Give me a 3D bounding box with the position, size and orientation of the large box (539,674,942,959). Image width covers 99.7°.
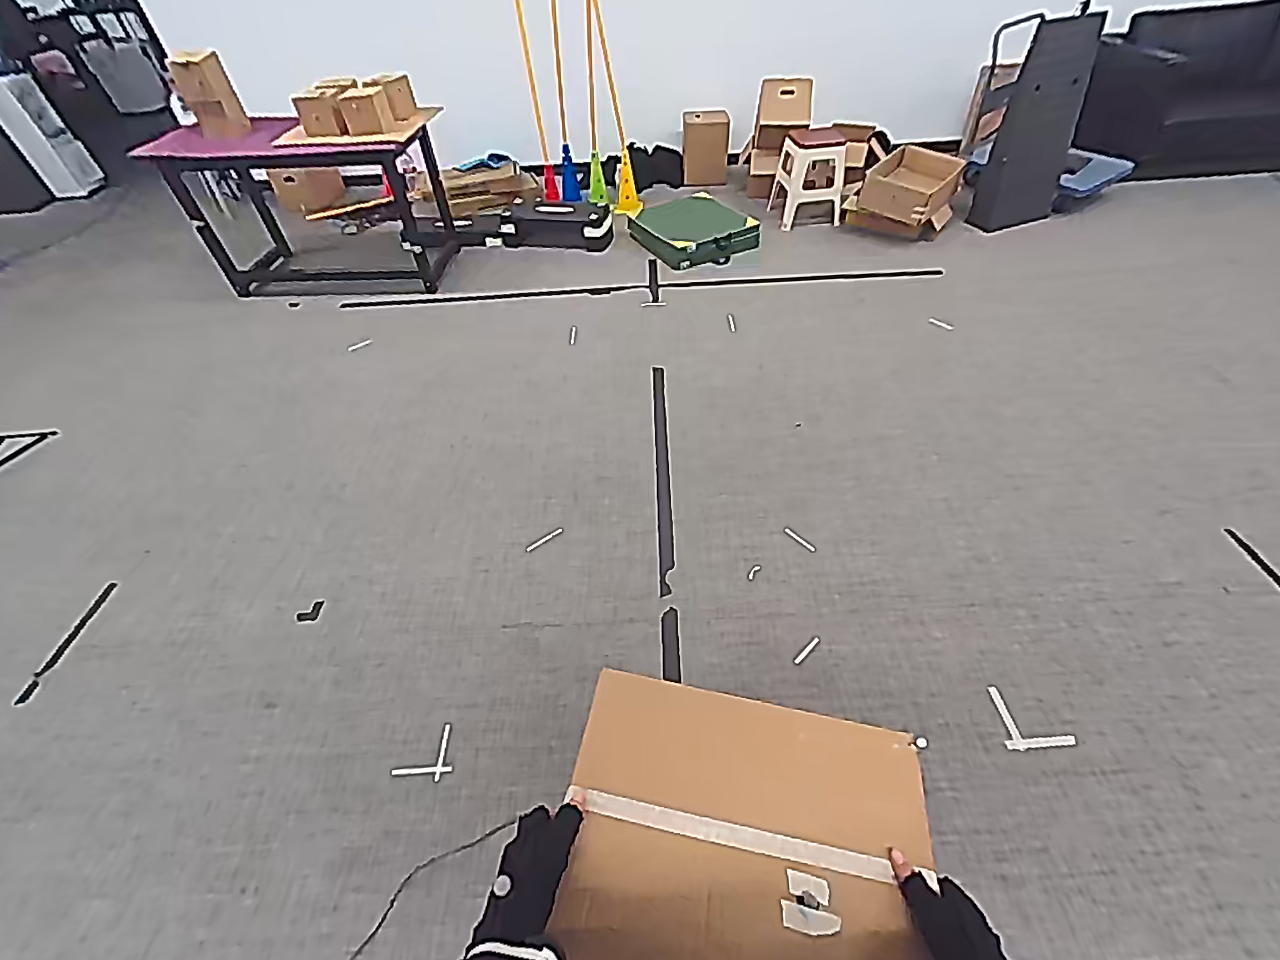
[{"bbox_3d":[0.113,0.503,0.713,0.408,0.320,0.320,10,46,6],"label":"large box"}]
